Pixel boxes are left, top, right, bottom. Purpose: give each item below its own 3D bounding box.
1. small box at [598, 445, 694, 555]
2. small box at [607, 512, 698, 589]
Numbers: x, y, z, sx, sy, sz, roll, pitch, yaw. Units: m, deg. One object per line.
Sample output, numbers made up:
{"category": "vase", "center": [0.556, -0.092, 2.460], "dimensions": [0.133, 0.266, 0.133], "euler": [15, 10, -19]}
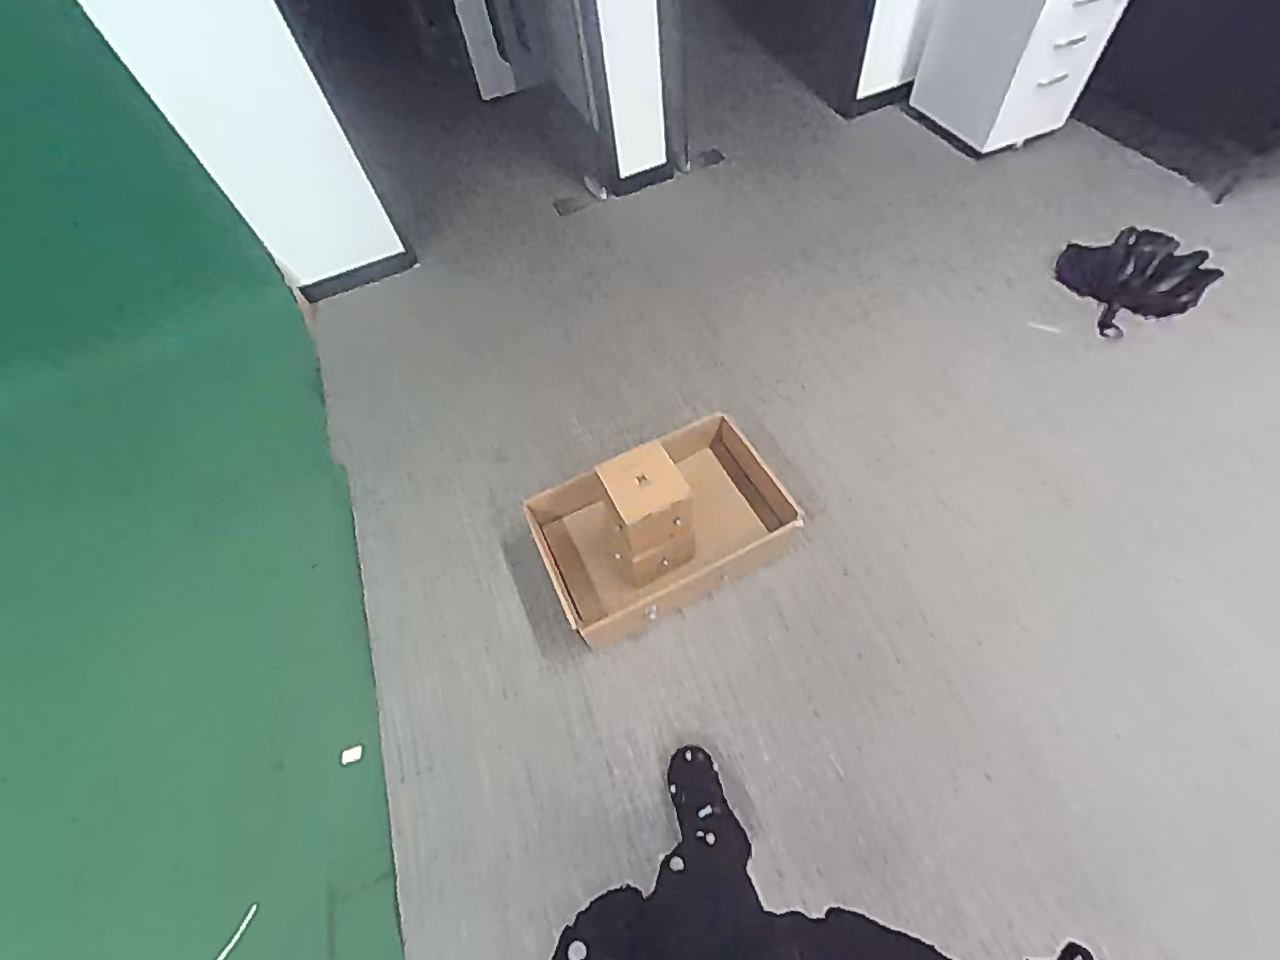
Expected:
{"category": "small box", "center": [0.019, 0.055, 1.266], "dimensions": [0.168, 0.176, 0.179], "euler": [-24, 56, -11]}
{"category": "small box", "center": [0.035, 0.151, 1.395], "dimensions": [0.179, 0.176, 0.168], "euler": [-26, 57, -9]}
